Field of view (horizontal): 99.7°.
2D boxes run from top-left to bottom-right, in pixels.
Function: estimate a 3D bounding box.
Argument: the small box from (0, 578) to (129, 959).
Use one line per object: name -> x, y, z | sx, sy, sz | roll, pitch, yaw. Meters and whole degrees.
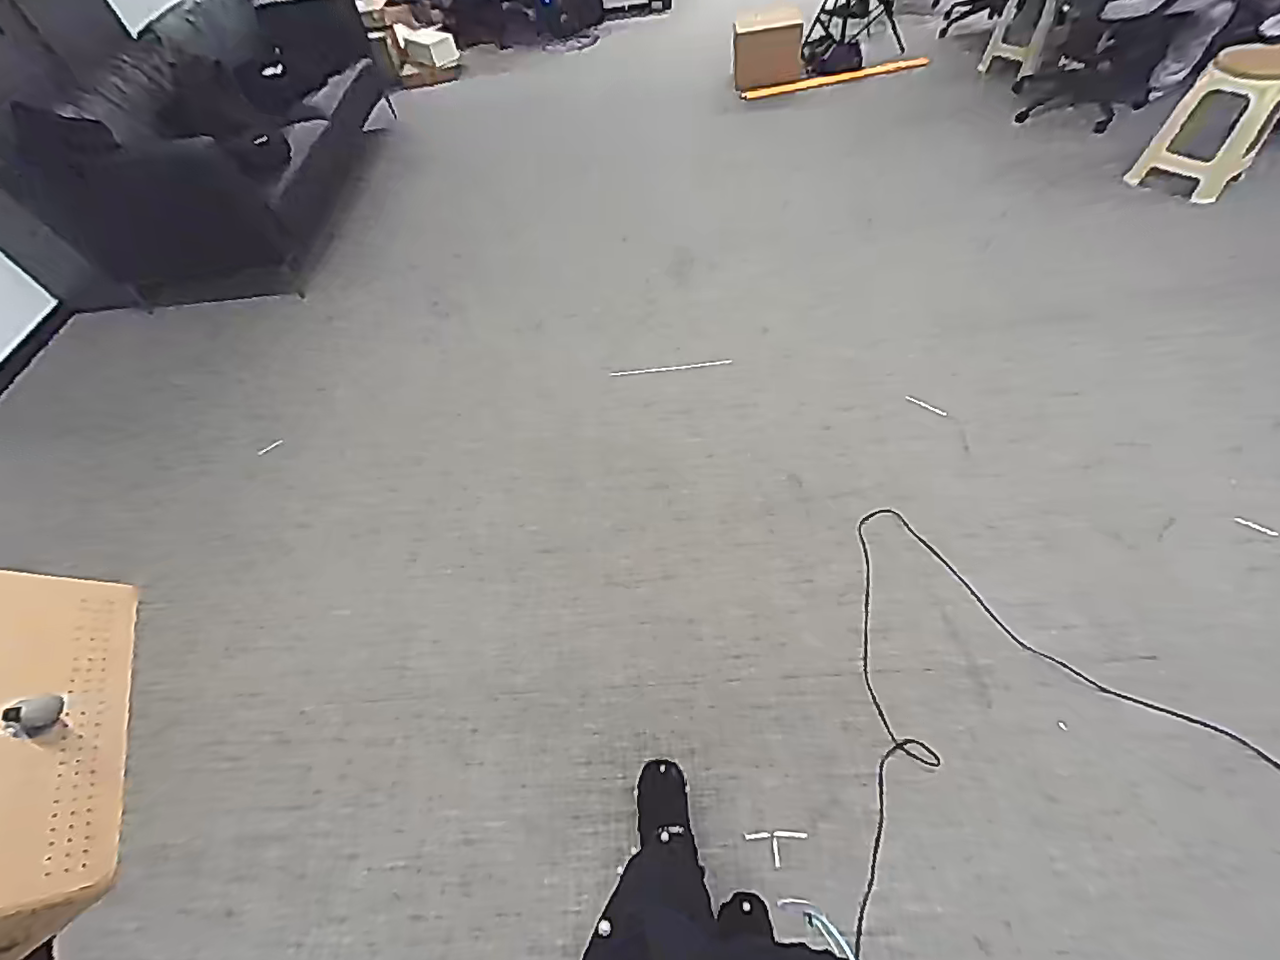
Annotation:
small box -> -0.389, 0.151, 0.254 | 0.168, 0.176, 0.179 | -37, 58, 14
